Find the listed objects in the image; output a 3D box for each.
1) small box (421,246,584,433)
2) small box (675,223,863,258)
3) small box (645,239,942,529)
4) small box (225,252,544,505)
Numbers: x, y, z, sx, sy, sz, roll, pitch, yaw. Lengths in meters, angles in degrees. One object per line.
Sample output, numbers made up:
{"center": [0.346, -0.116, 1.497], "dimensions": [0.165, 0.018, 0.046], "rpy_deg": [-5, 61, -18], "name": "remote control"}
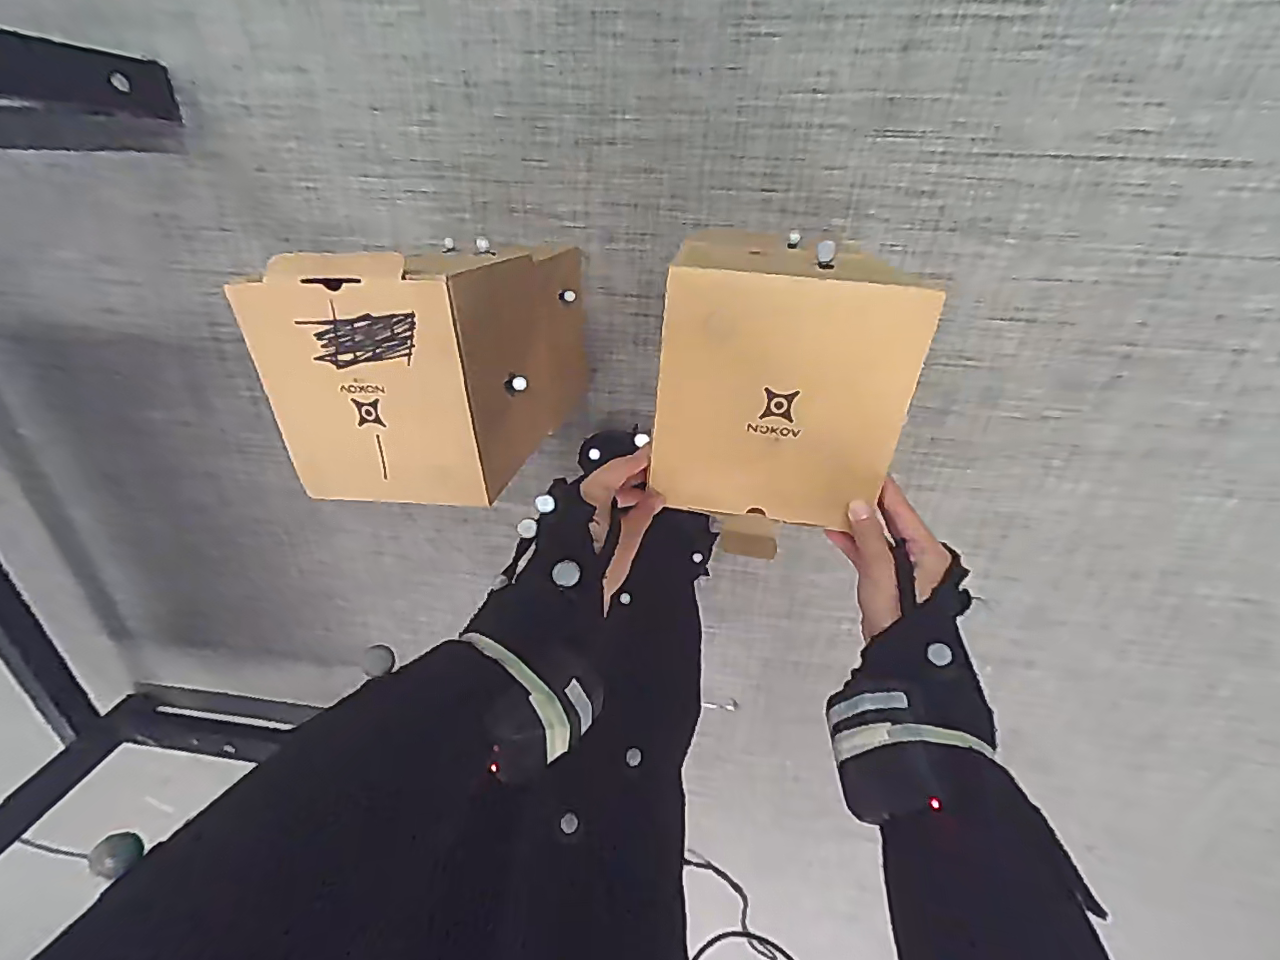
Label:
{"center": [-0.165, -0.167, 0.612], "dimensions": [0.168, 0.176, 0.179], "rpy_deg": [3, 118, 9], "name": "small box"}
{"center": [0.117, -0.163, 0.571], "dimensions": [0.168, 0.176, 0.179], "rpy_deg": [6, 120, 4], "name": "small box"}
{"center": [0.099, -0.087, 0.428], "dimensions": [0.168, 0.176, 0.179], "rpy_deg": [7, 119, 4], "name": "small box"}
{"center": [-0.191, -0.097, 0.466], "dimensions": [0.168, 0.176, 0.179], "rpy_deg": [3, 119, 8], "name": "small box"}
